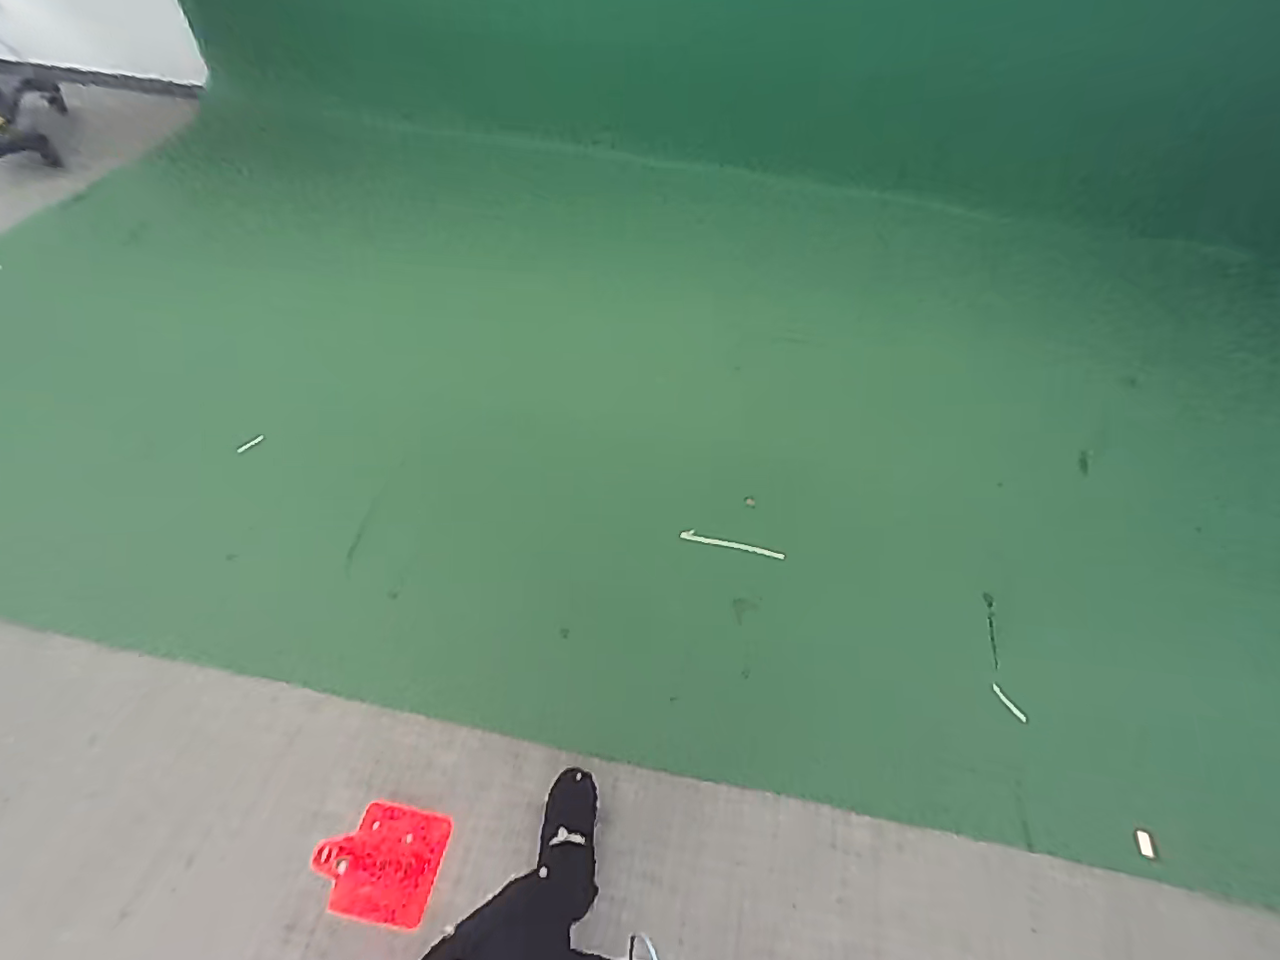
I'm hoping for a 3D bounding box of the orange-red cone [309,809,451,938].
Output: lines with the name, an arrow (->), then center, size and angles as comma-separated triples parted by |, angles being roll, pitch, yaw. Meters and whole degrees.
orange-red cone -> -0.518, 0.726, 1.010 | 0.198, 0.360, 0.199 | 10, 54, 5
